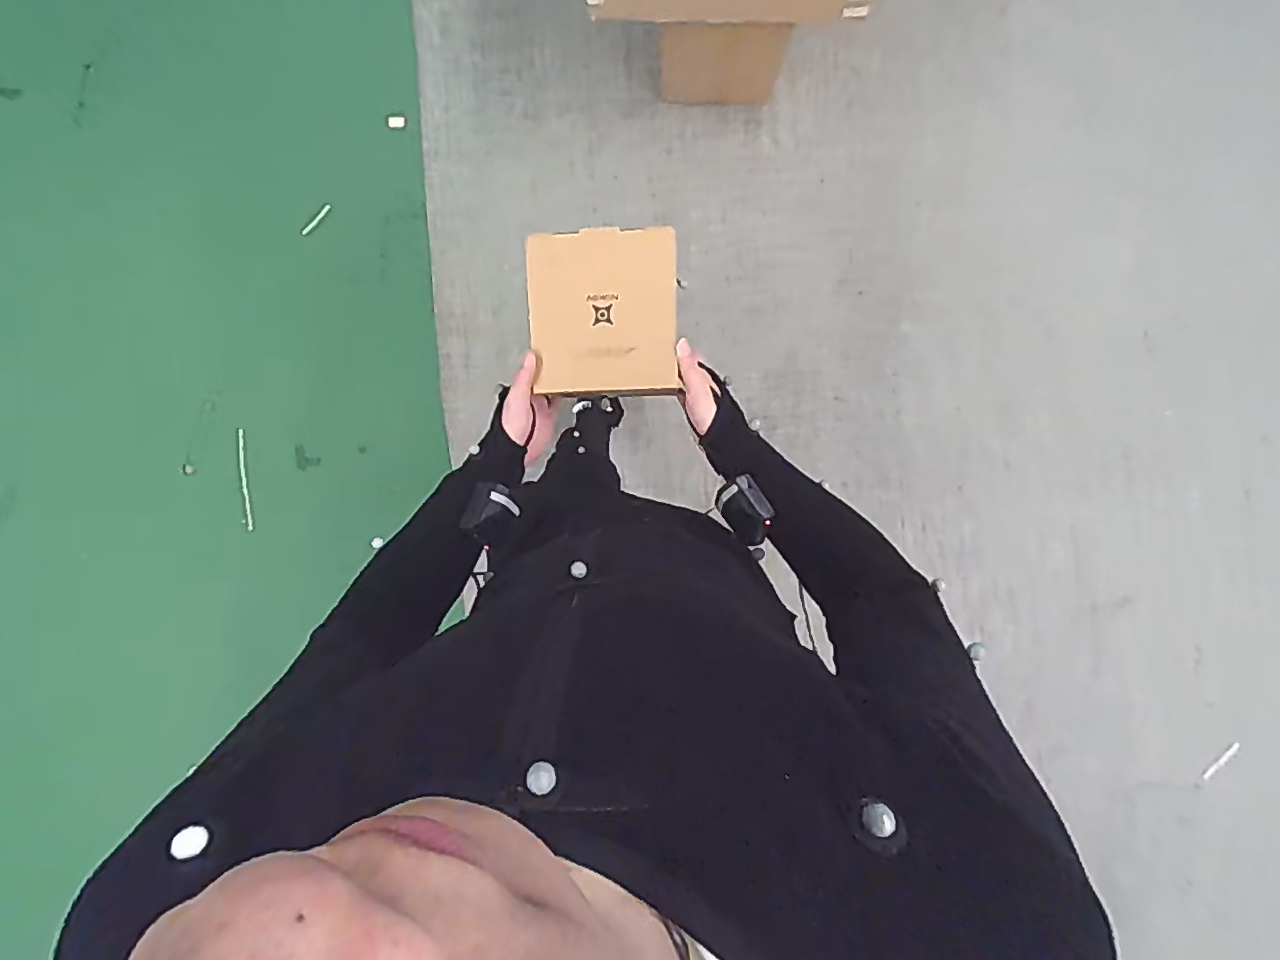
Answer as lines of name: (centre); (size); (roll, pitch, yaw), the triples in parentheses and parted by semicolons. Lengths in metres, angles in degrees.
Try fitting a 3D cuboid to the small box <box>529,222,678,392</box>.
small box: (-0.037, -0.205, 0.684); (0.168, 0.176, 0.179); (0, 97, 5)
